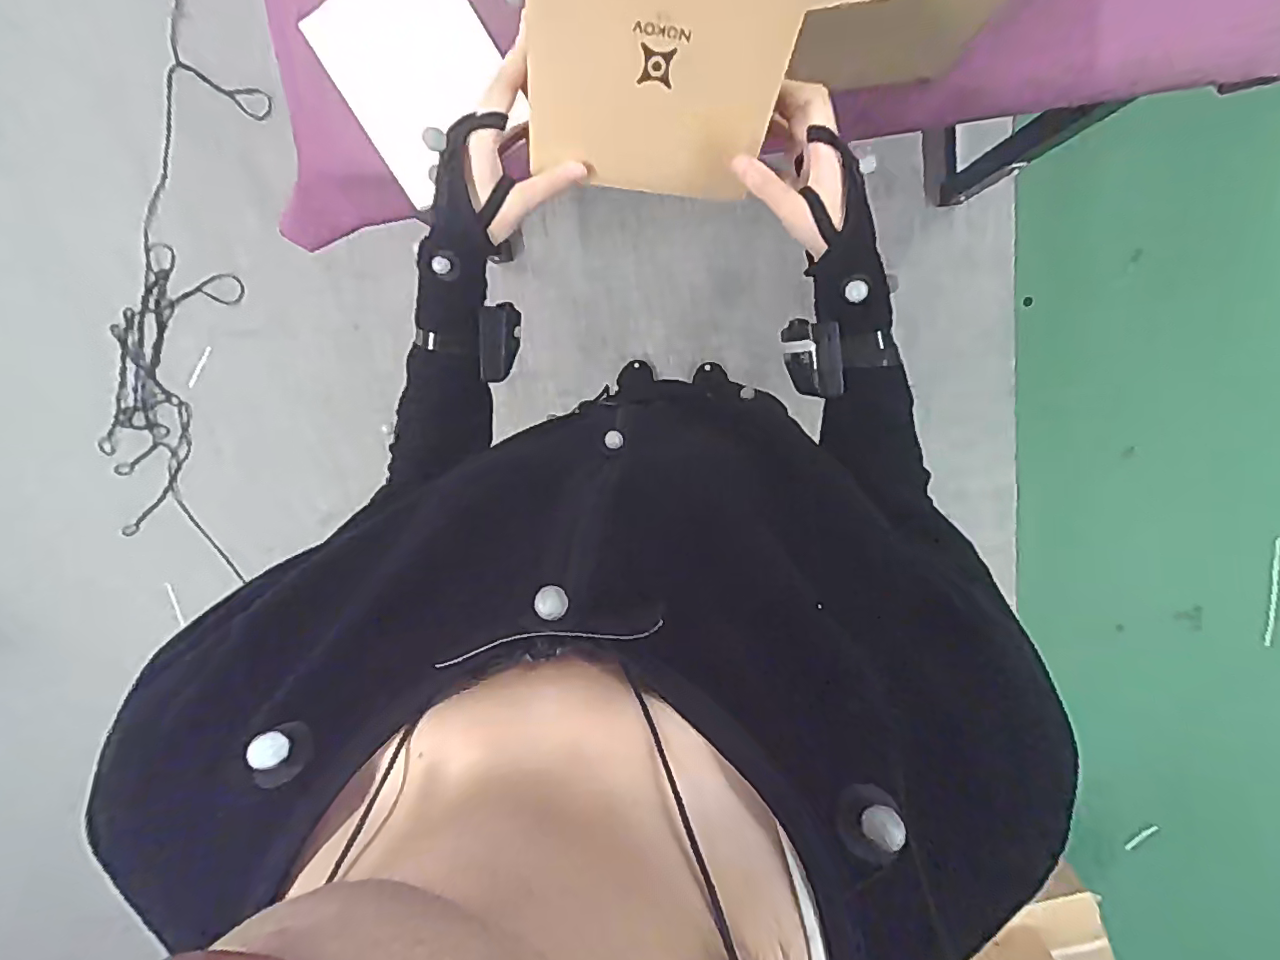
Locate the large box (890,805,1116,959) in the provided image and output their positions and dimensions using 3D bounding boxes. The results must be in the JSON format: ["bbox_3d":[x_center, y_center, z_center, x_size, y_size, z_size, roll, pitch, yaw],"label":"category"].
[{"bbox_3d":[0.996,1.201,1.515,0.408,0.320,0.320,-21,99,6],"label":"large box"}]

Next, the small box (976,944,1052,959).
[{"bbox_3d":[0.935,1.249,1.279,0.168,0.176,0.179,-20,98,8],"label":"small box"}]

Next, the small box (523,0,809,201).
[{"bbox_3d":[0.011,-0.334,0.375,0.168,0.179,0.176,4,59,-8],"label":"small box"}]
